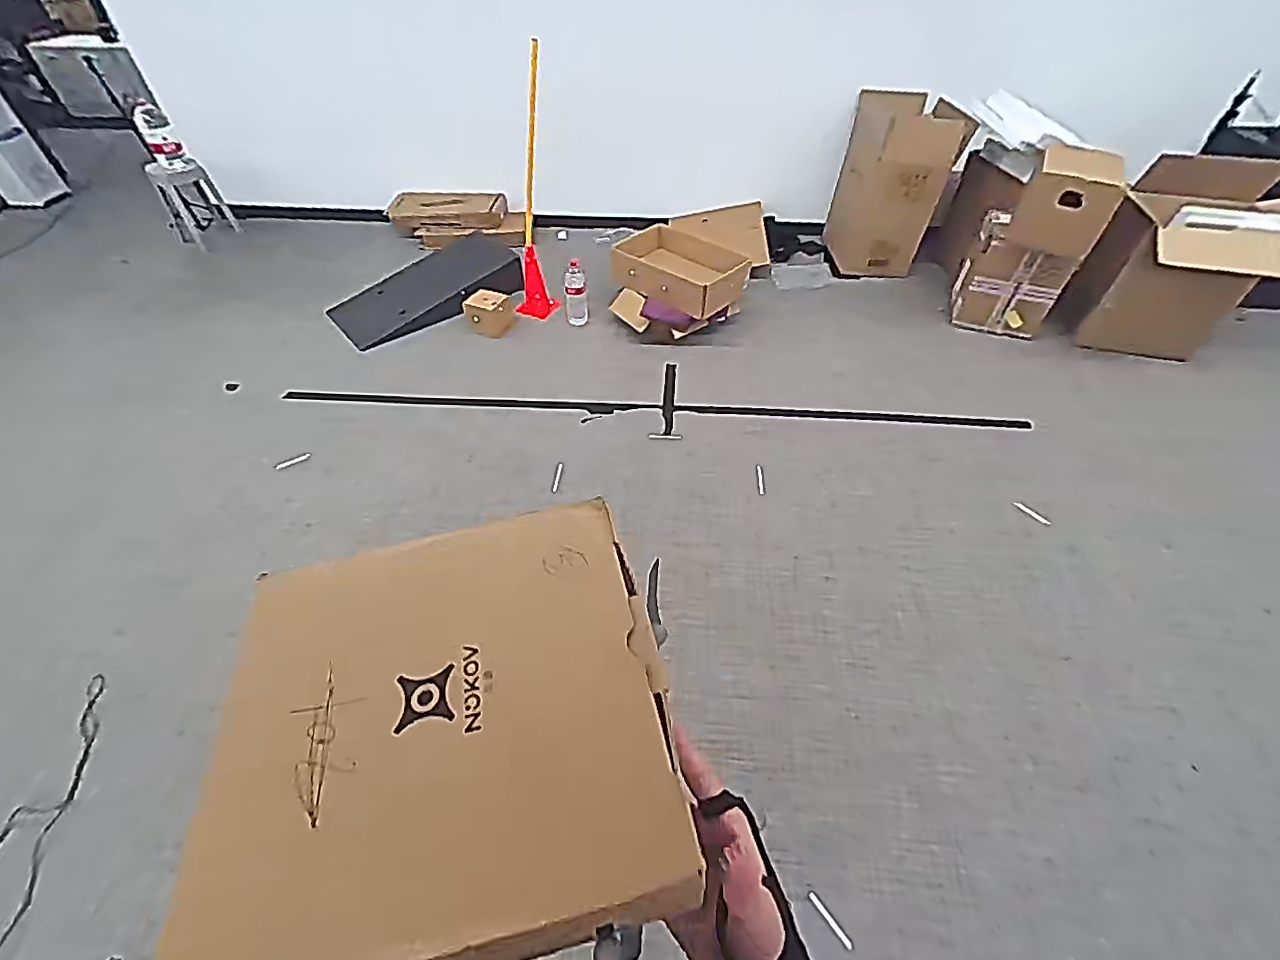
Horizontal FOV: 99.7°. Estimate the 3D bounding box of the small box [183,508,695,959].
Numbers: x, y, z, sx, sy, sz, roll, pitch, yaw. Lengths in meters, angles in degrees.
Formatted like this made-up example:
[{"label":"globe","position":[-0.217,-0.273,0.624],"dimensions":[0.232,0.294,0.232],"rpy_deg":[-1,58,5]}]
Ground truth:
[{"label":"small box","position":[-0.077,0.145,0.291],"dimensions":[0.179,0.176,0.168],"rpy_deg":[-14,49,-6]}]
